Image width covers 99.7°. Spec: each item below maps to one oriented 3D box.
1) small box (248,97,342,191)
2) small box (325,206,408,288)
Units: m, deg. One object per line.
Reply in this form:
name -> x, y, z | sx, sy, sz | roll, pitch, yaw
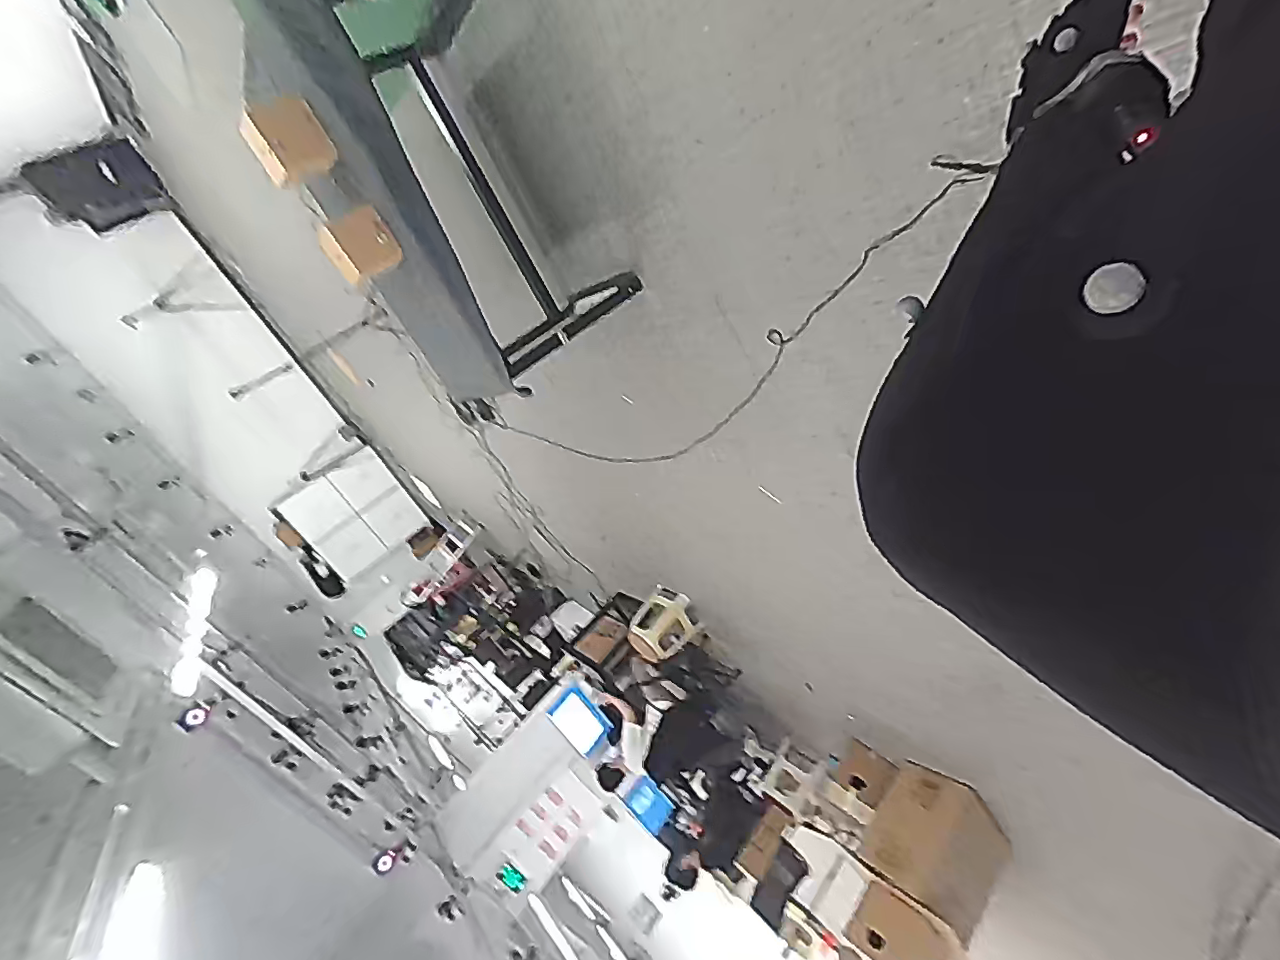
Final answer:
small box -> -1.022, -0.996, 1.607 | 0.179, 0.176, 0.168 | 12, 138, 52
small box -> -0.879, -0.748, 1.741 | 0.179, 0.176, 0.168 | 4, 132, 55
